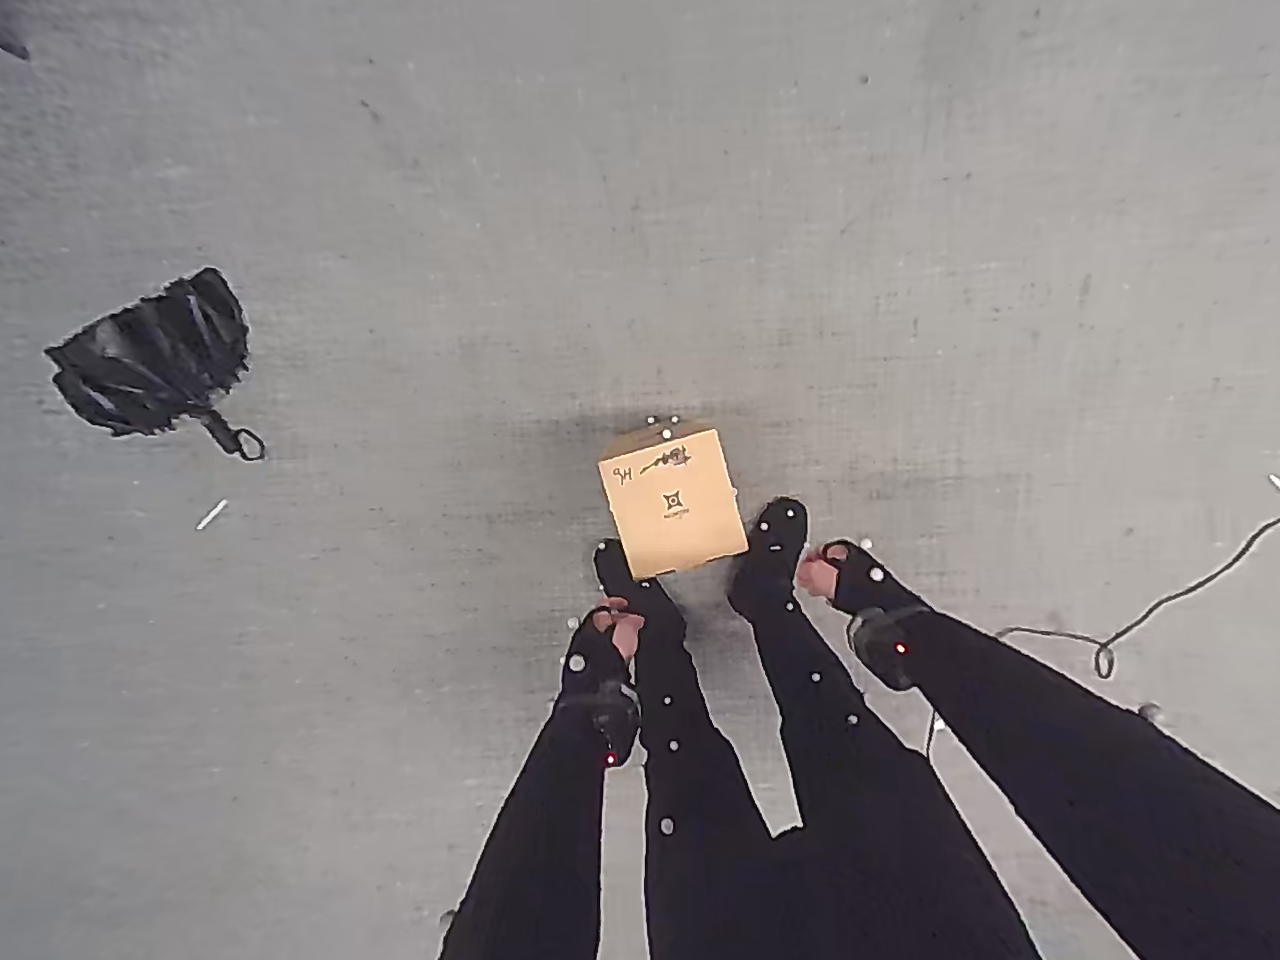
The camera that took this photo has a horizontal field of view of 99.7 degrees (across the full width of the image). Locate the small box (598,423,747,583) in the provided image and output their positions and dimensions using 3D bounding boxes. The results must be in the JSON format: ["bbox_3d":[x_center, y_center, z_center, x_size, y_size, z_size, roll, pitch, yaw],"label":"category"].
[{"bbox_3d":[0.048,0.025,0.799,0.168,0.176,0.179,-16,99,4],"label":"small box"}]

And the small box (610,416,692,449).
[{"bbox_3d":[0.047,-0.027,1.122,0.168,0.176,0.179,-18,97,4],"label":"small box"}]
